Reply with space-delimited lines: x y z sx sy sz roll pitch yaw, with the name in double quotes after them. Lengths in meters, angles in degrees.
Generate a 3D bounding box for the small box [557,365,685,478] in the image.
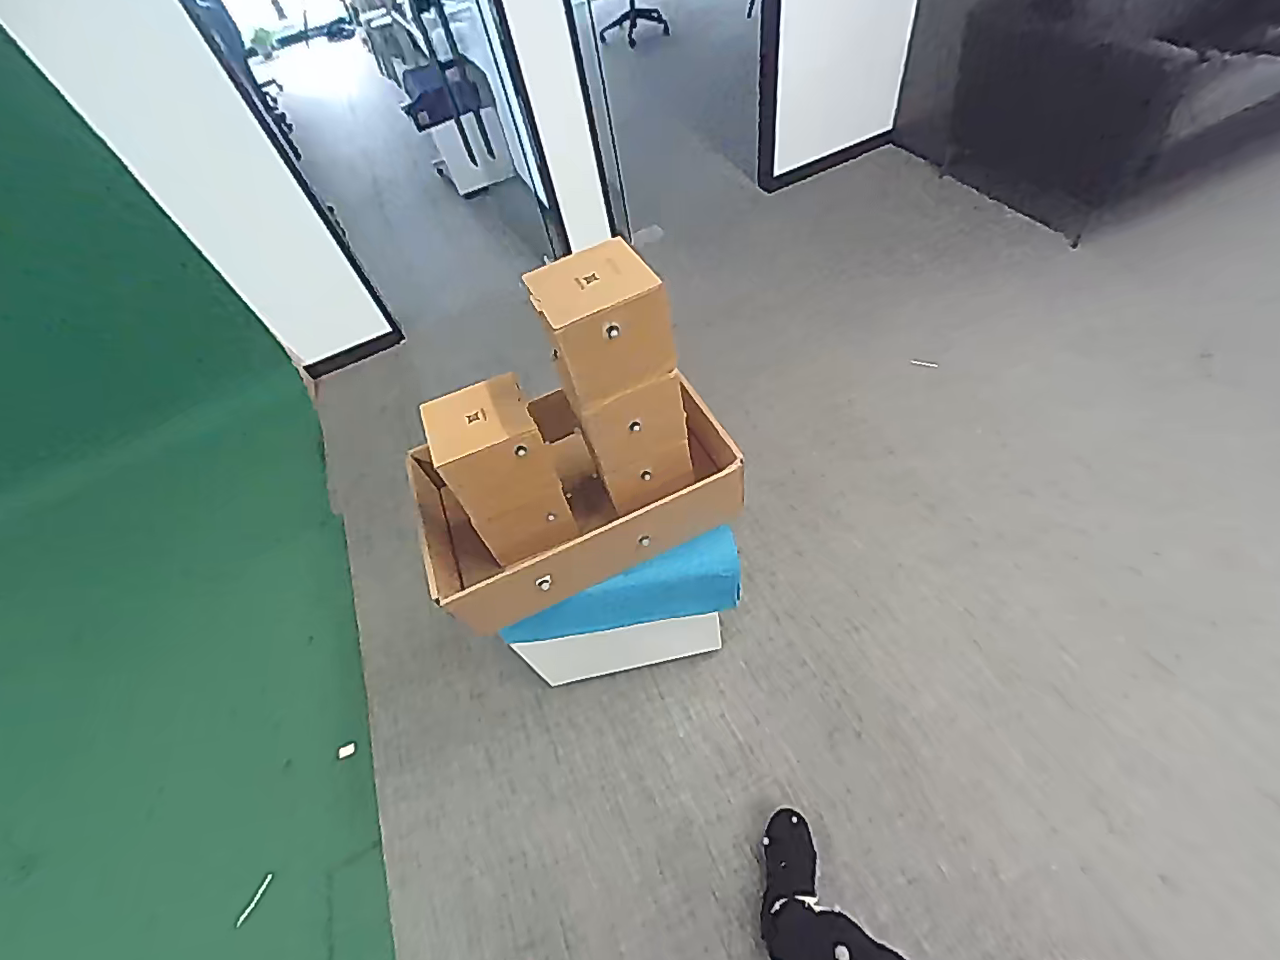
-0.027 -0.136 0.990 0.179 0.176 0.168 -25 51 -6 "small box"

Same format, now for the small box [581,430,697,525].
0.003 -0.035 1.116 0.179 0.176 0.168 -24 51 -5 "small box"

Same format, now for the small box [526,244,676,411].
-0.058 -0.240 0.869 0.179 0.176 0.168 -24 51 -7 "small box"
